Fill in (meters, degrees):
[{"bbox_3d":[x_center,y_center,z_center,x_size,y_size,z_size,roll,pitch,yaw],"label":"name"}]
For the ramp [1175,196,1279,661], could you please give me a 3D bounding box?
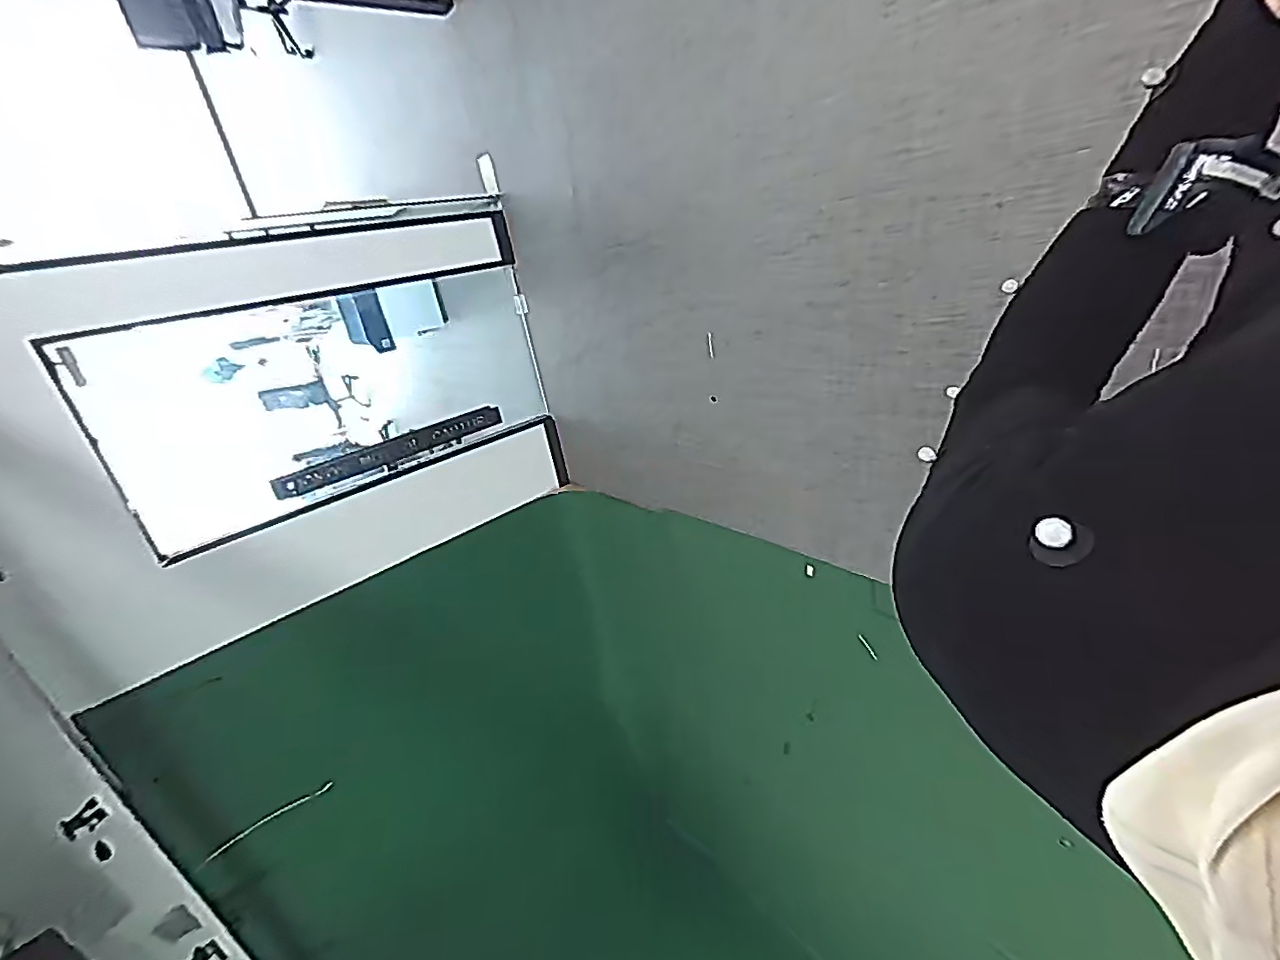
[{"bbox_3d":[1.374,-0.088,0.945,0.509,0.206,0.991,14,122,50],"label":"ramp"}]
